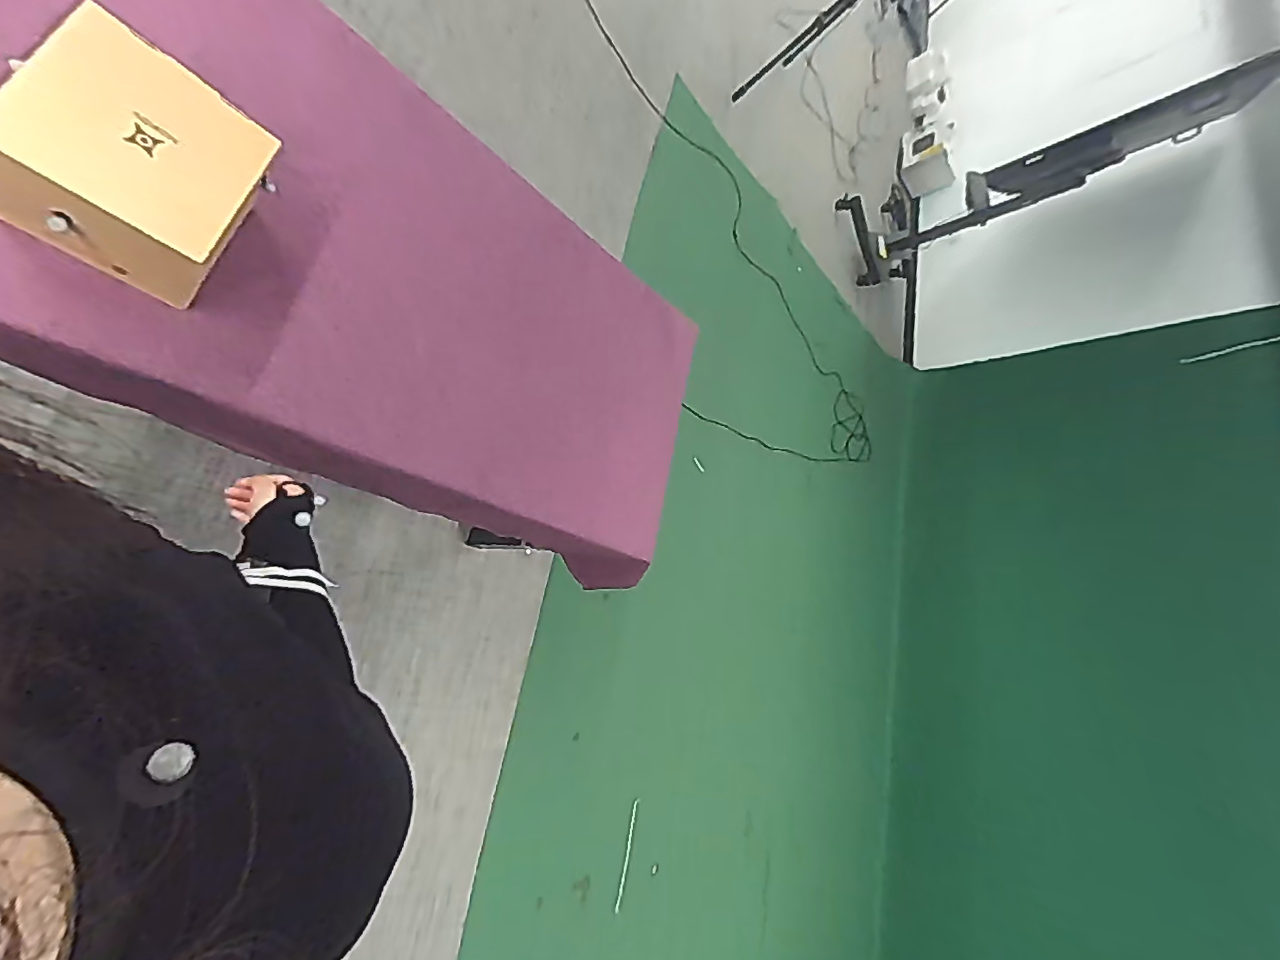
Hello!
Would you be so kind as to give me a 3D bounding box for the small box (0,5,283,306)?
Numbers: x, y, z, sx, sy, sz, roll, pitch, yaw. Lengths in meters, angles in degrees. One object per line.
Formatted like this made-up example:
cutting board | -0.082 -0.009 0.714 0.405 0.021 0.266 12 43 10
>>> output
small box | -0.518 -0.315 0.567 0.168 0.176 0.179 31 64 -39
